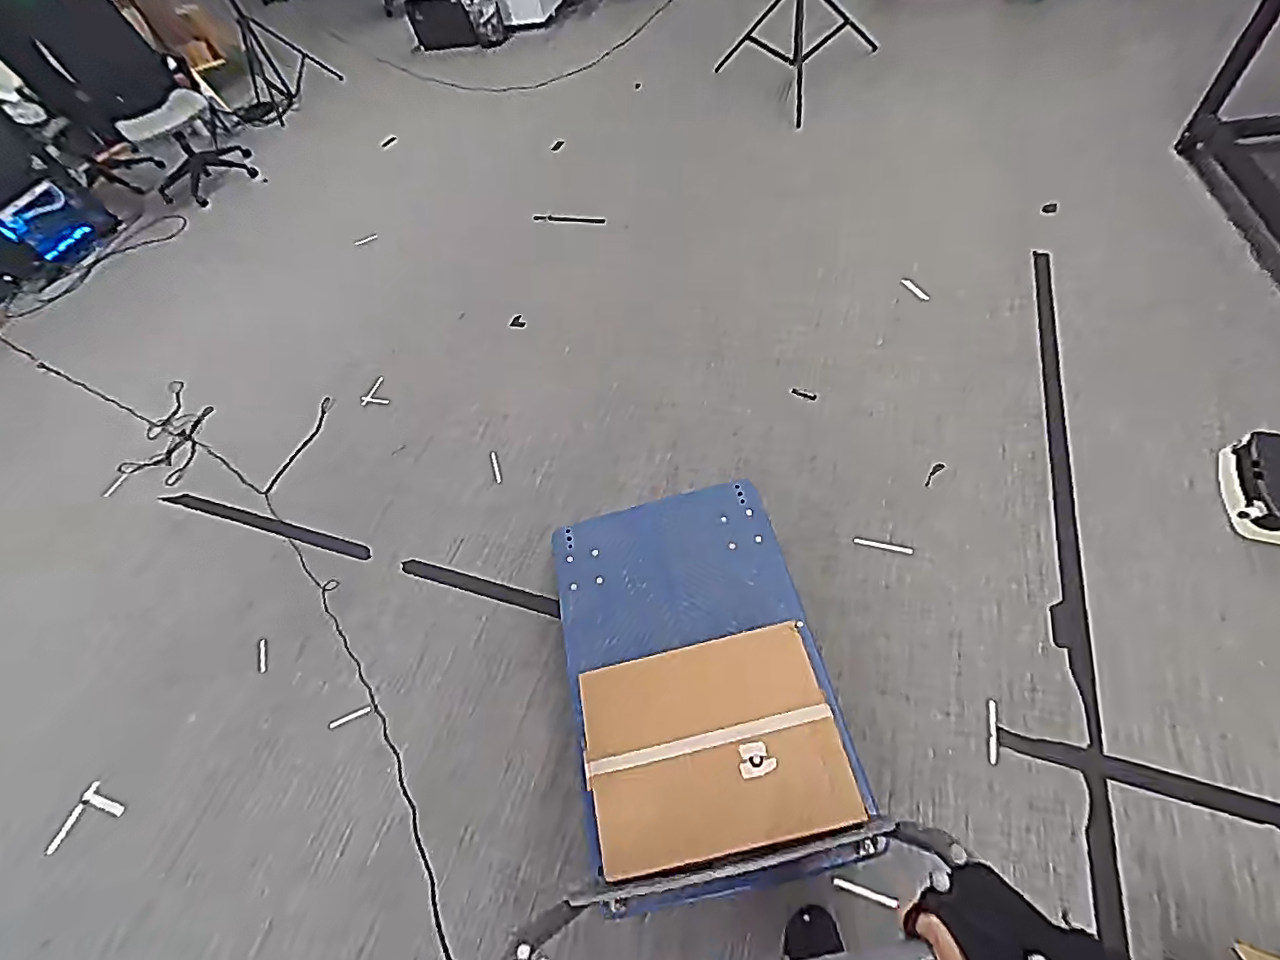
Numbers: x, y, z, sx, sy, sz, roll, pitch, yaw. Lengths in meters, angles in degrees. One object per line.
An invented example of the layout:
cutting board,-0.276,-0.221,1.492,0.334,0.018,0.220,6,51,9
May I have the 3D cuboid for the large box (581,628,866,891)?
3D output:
large box,0.136,0.517,1.002,0.408,0.320,0.320,-14,56,1
